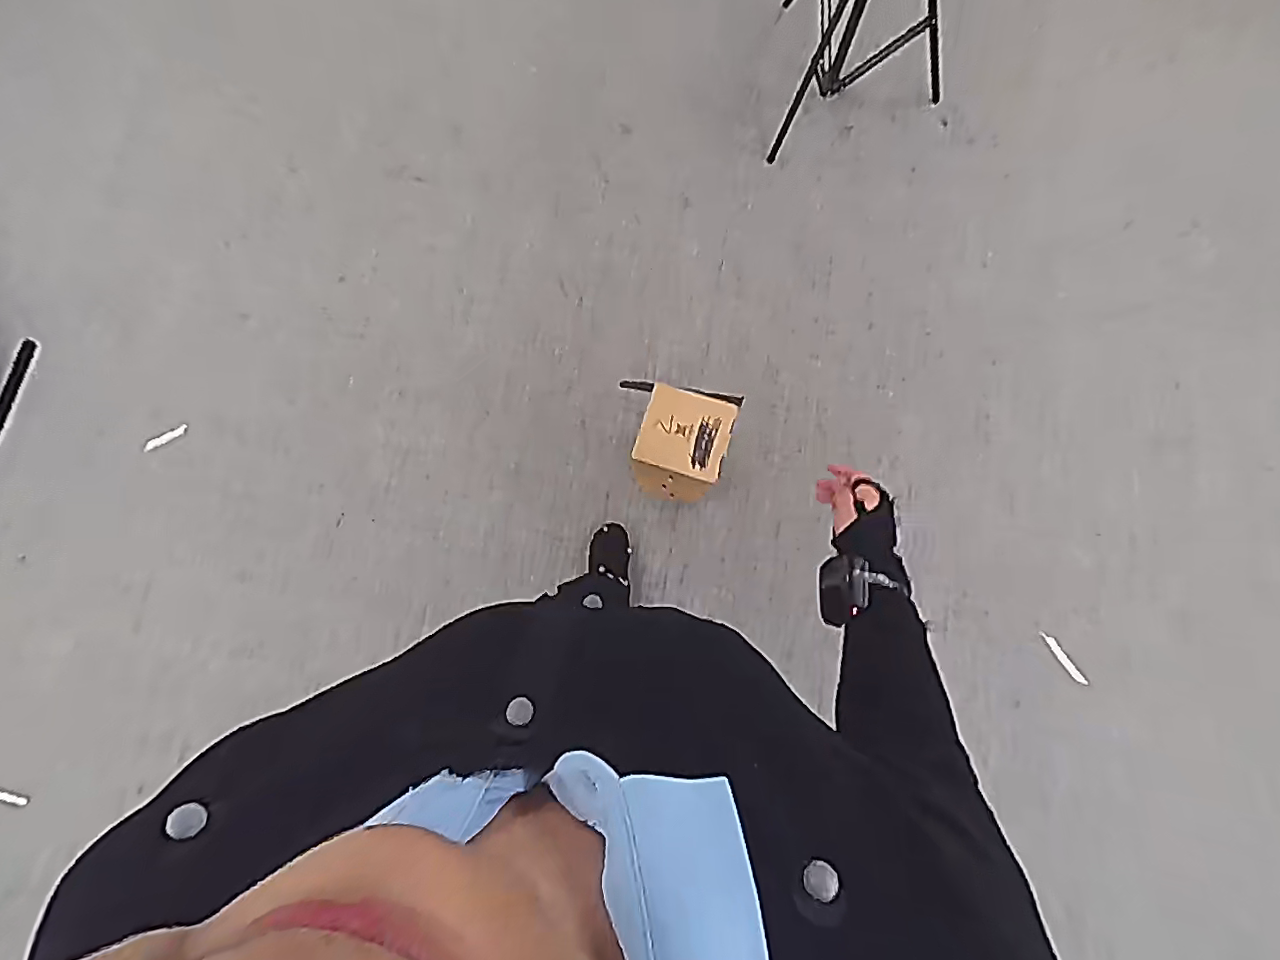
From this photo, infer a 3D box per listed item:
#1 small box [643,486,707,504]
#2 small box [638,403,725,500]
[{"bbox_3d":[0.105,-0.036,1.466,0.168,0.176,0.179,9,79,2],"label":"small box"},{"bbox_3d":[0.095,-0.062,1.305,0.168,0.176,0.179,15,81,4],"label":"small box"}]
